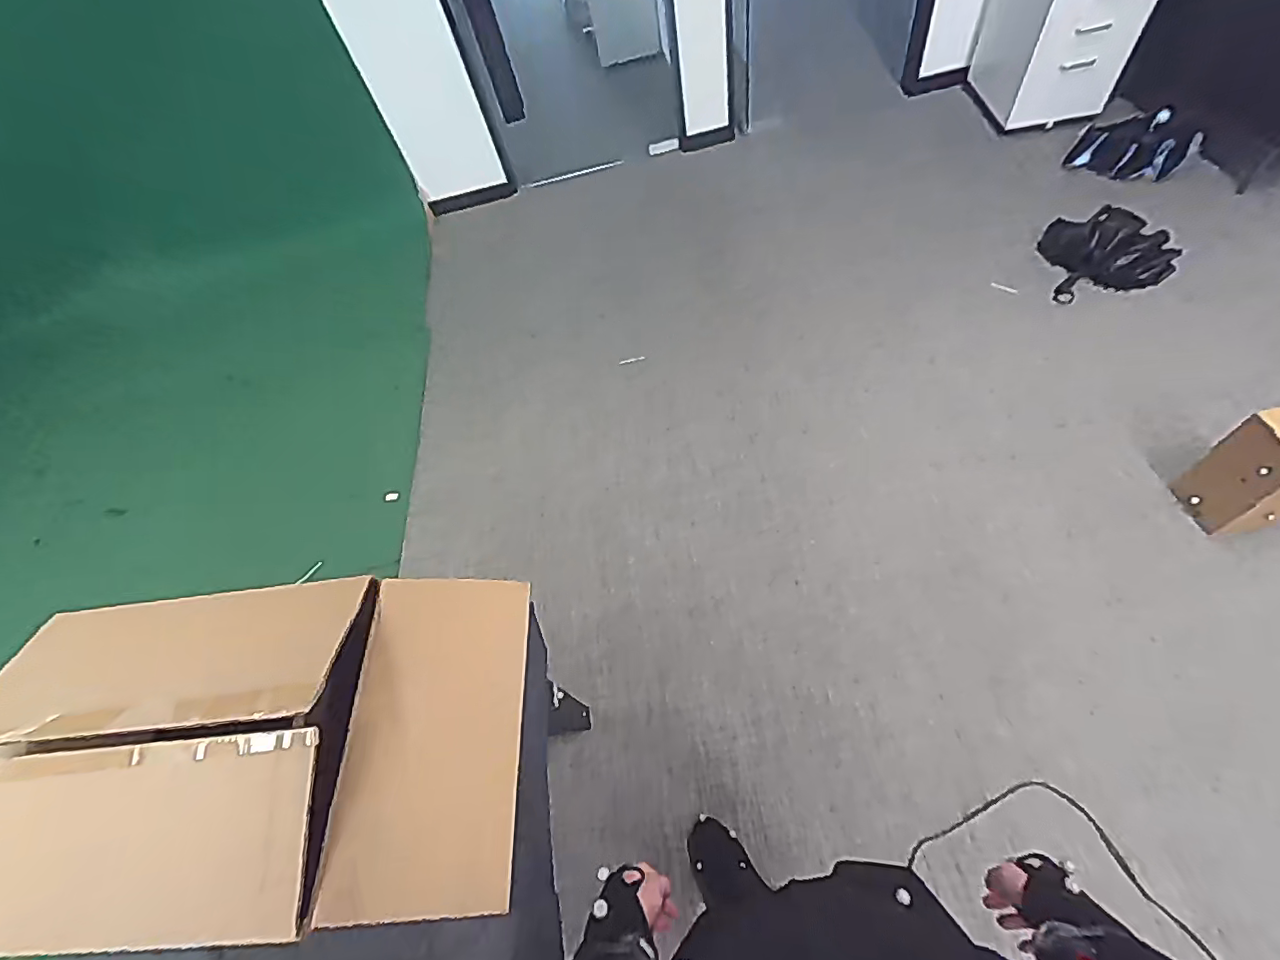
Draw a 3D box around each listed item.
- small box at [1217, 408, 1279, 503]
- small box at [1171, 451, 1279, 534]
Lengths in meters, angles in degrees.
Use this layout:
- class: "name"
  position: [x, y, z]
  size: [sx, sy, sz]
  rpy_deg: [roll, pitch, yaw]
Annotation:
- class: "small box"
  position: [1.527, -0.061, 1.261]
  size: [0.179, 0.176, 0.168]
  rpy_deg: [-10, 59, 3]
- class: "small box"
  position: [1.557, 0.022, 1.396]
  size: [0.179, 0.176, 0.168]
  rpy_deg: [-12, 57, 4]
